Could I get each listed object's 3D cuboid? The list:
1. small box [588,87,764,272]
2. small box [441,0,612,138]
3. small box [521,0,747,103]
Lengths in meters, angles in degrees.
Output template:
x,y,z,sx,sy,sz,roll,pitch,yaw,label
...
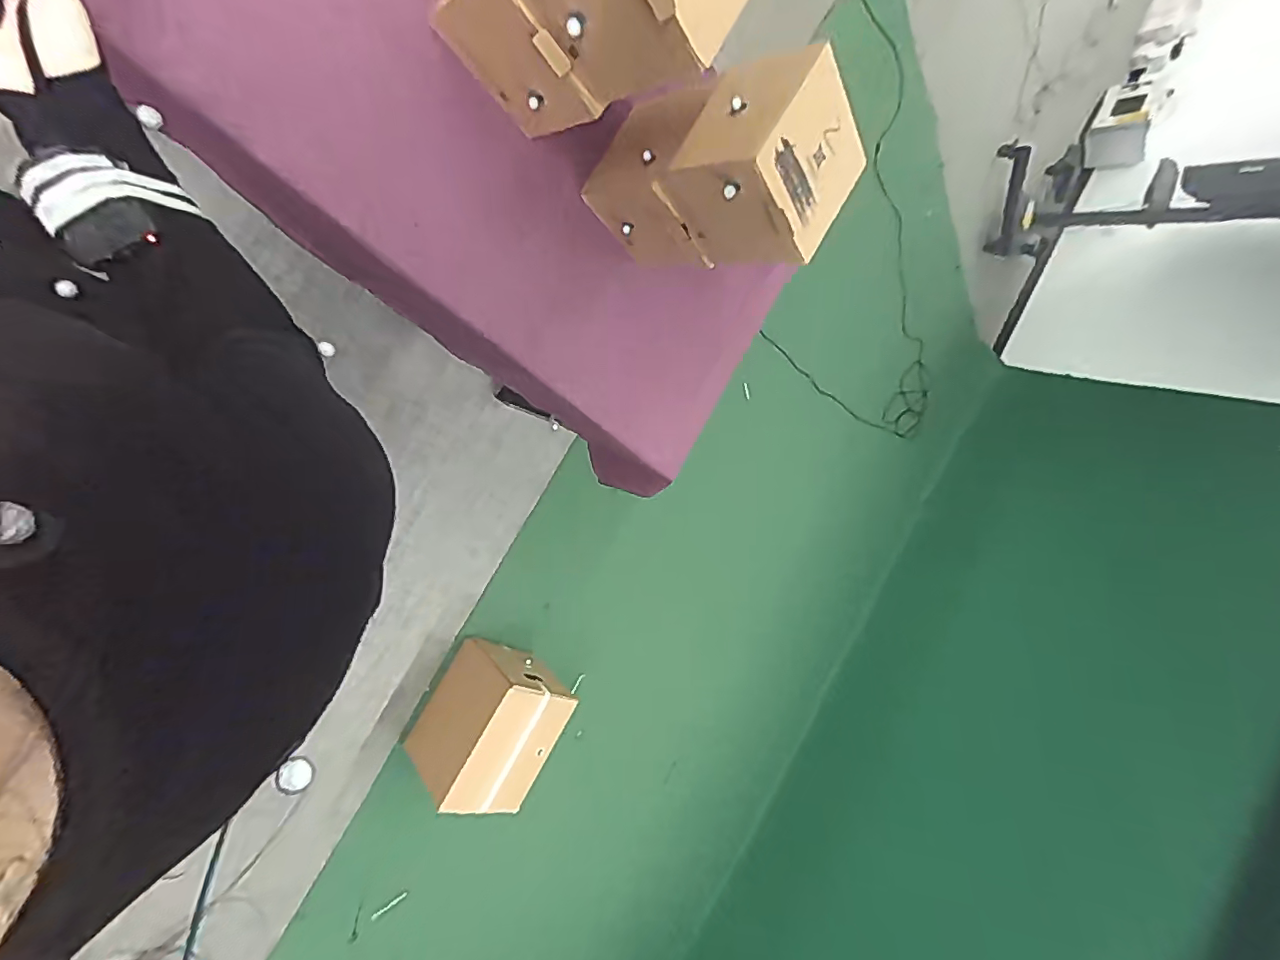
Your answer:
x,y,z,sx,sy,sz,roll,pitch,yaw,label
0.052,-0.444,0.825,0.168,0.176,0.179,35,83,-45,small box
-0.107,-0.545,0.638,0.168,0.176,0.179,35,82,-46,small box
-0.001,-0.510,0.515,0.168,0.176,0.179,34,83,-45,small box
